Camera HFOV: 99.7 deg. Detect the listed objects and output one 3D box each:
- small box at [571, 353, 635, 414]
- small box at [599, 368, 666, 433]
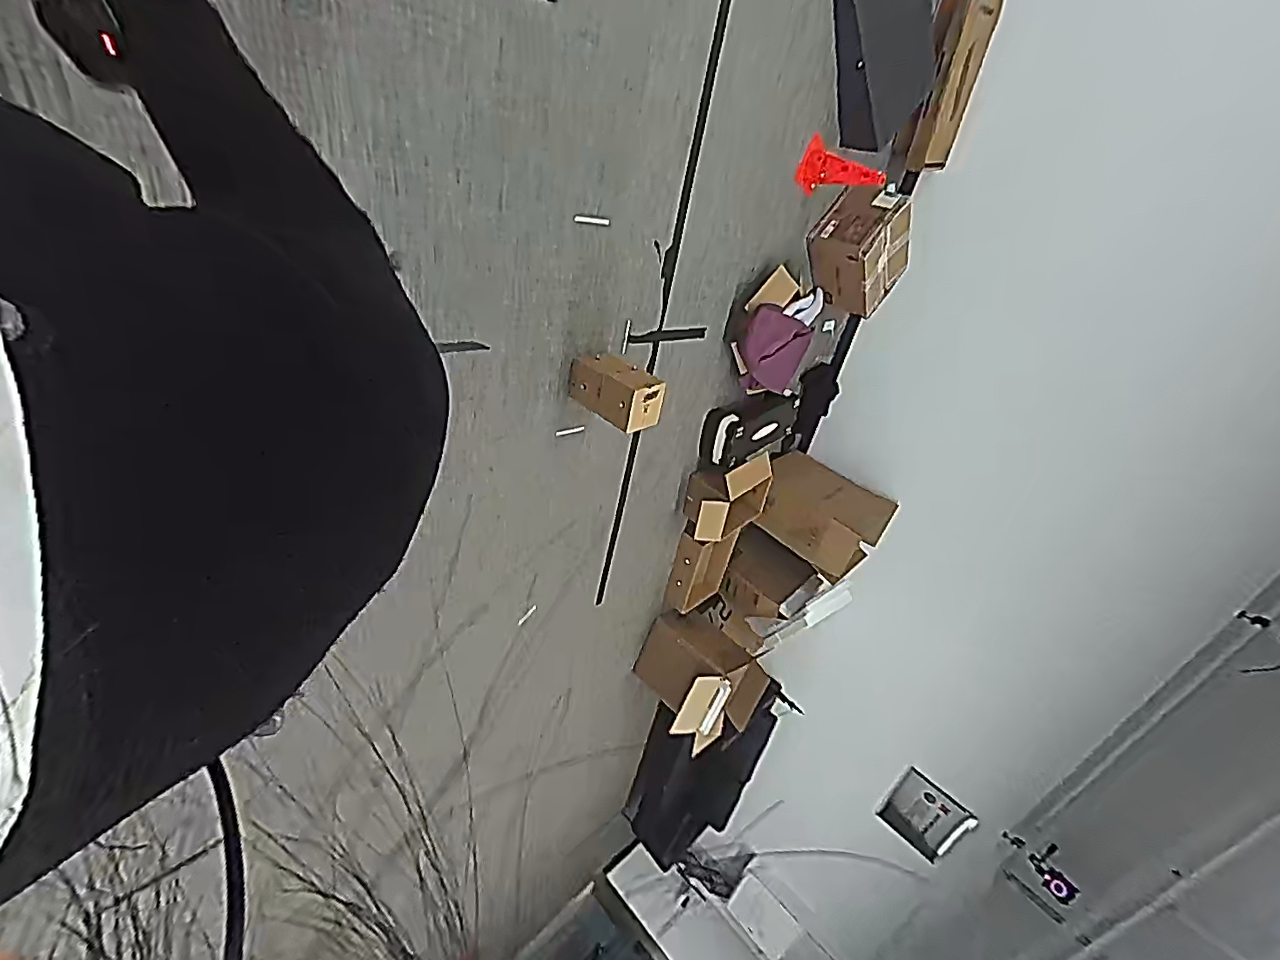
[{"bbox_3d":[-0.147,-0.377,2.086,0.179,0.176,0.168,-21,135,-40],"label":"small box"},{"bbox_3d":[-0.033,-0.301,1.992,0.168,0.176,0.179,-22,136,-41],"label":"small box"}]
